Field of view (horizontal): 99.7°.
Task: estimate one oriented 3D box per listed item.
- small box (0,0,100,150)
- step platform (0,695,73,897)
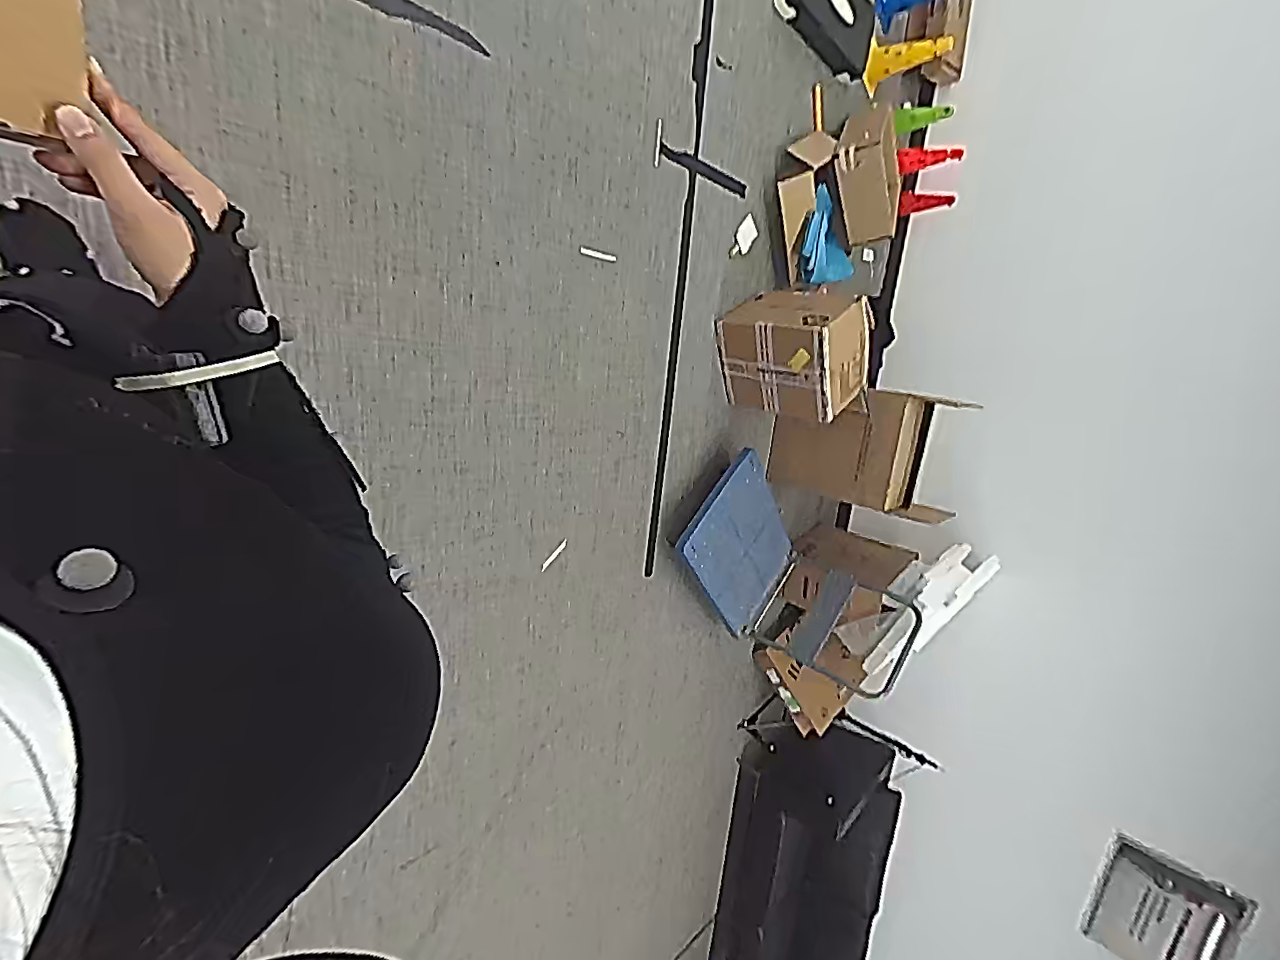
[{"bbox_3d":[-0.392,-0.290,0.268,0.168,0.176,0.179,-4,114,-46],"label":"small box"},{"bbox_3d":[-1.295,0.581,0.762,0.684,0.204,0.286,-9,111,-47],"label":"step platform"}]
